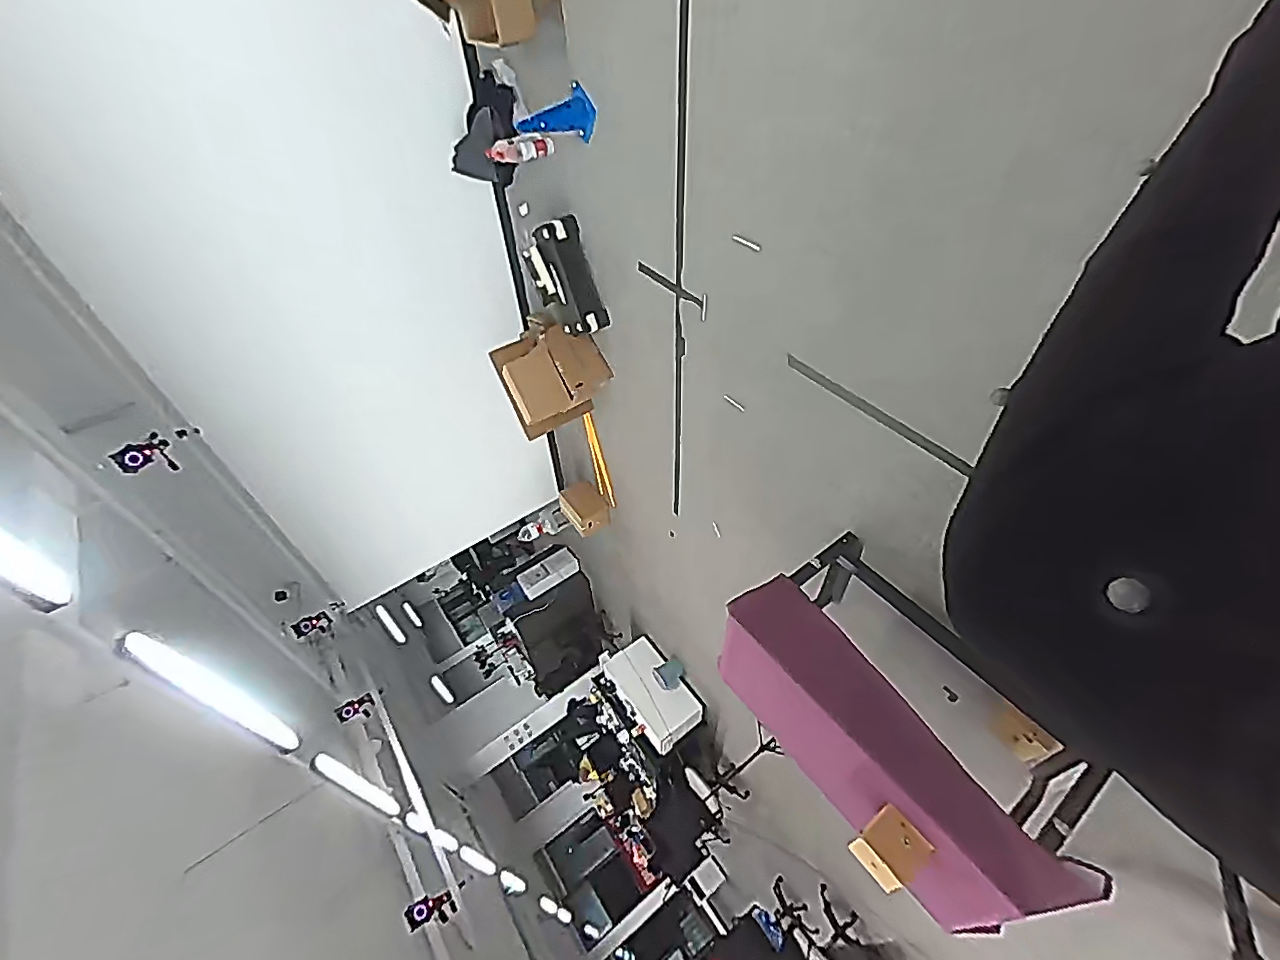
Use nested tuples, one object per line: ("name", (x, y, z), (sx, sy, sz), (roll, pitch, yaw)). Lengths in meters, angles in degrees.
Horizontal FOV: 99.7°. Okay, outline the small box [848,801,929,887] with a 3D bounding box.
("small box", (0.845, 1.235, 1.837), (0.168, 0.176, 0.179), (44, 152, 34))
